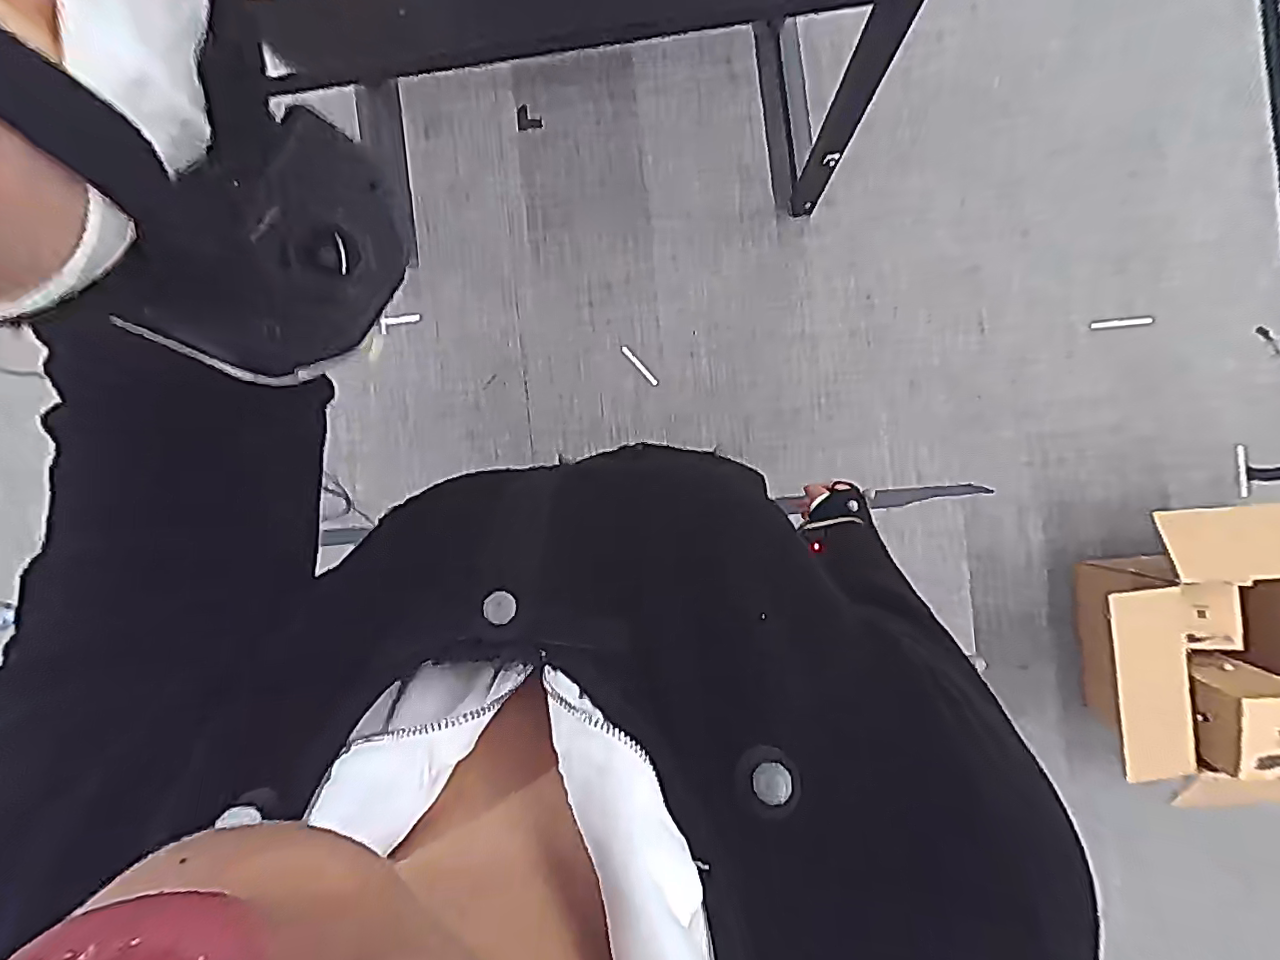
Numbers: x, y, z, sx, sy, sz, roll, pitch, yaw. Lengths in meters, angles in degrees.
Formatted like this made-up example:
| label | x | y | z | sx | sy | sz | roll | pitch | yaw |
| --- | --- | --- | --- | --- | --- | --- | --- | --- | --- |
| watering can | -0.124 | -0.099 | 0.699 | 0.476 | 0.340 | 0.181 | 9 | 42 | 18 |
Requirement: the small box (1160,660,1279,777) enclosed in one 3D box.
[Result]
| label | x | y | z | sx | sy | sz | roll | pitch | yaw |
| --- | --- | --- | --- | --- | --- | --- | --- | --- | --- |
| small box | 1.279 | 0.507 | 1.166 | 0.168 | 0.176 | 0.179 | -3 | 94 | 2 |
